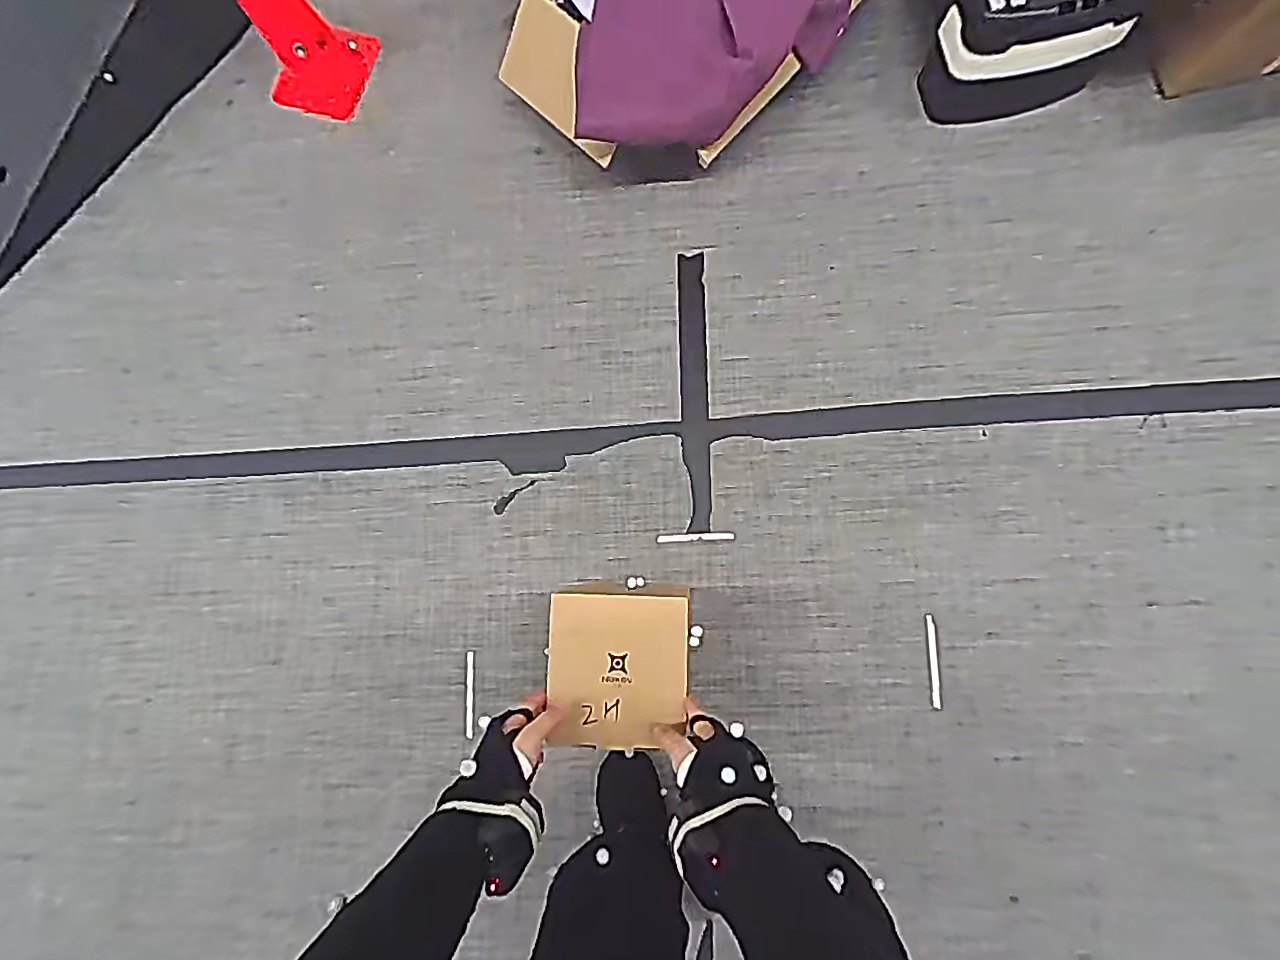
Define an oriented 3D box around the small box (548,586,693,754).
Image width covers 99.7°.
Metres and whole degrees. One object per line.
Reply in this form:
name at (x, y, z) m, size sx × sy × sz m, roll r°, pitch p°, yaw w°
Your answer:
small box at (-0.016, 0.232, 0.706) m, size 0.168 × 0.176 × 0.179 m, roll 1°, pitch 83°, yaw 6°
